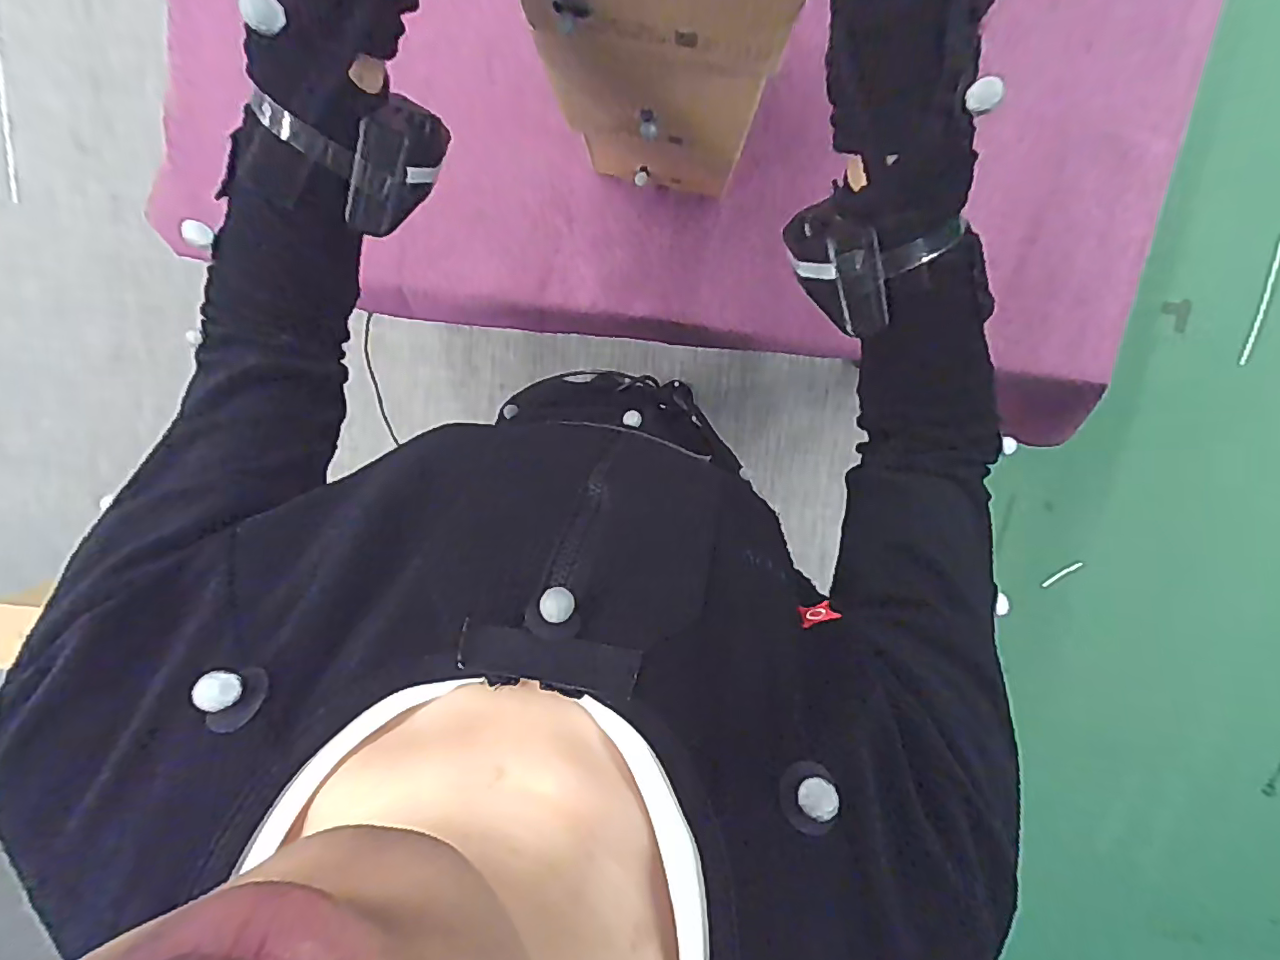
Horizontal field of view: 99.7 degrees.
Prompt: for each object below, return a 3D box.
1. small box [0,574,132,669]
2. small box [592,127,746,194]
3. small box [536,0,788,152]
[{"bbox_3d":[-1.421,0.341,1.334,0.179,0.176,0.168,6,101,1],"label":"small box"},{"bbox_3d":[0.040,-0.436,0.573,0.168,0.176,0.179,12,102,0],"label":"small box"},{"bbox_3d":[0.028,-0.390,0.415,0.168,0.176,0.179,10,101,1],"label":"small box"}]
